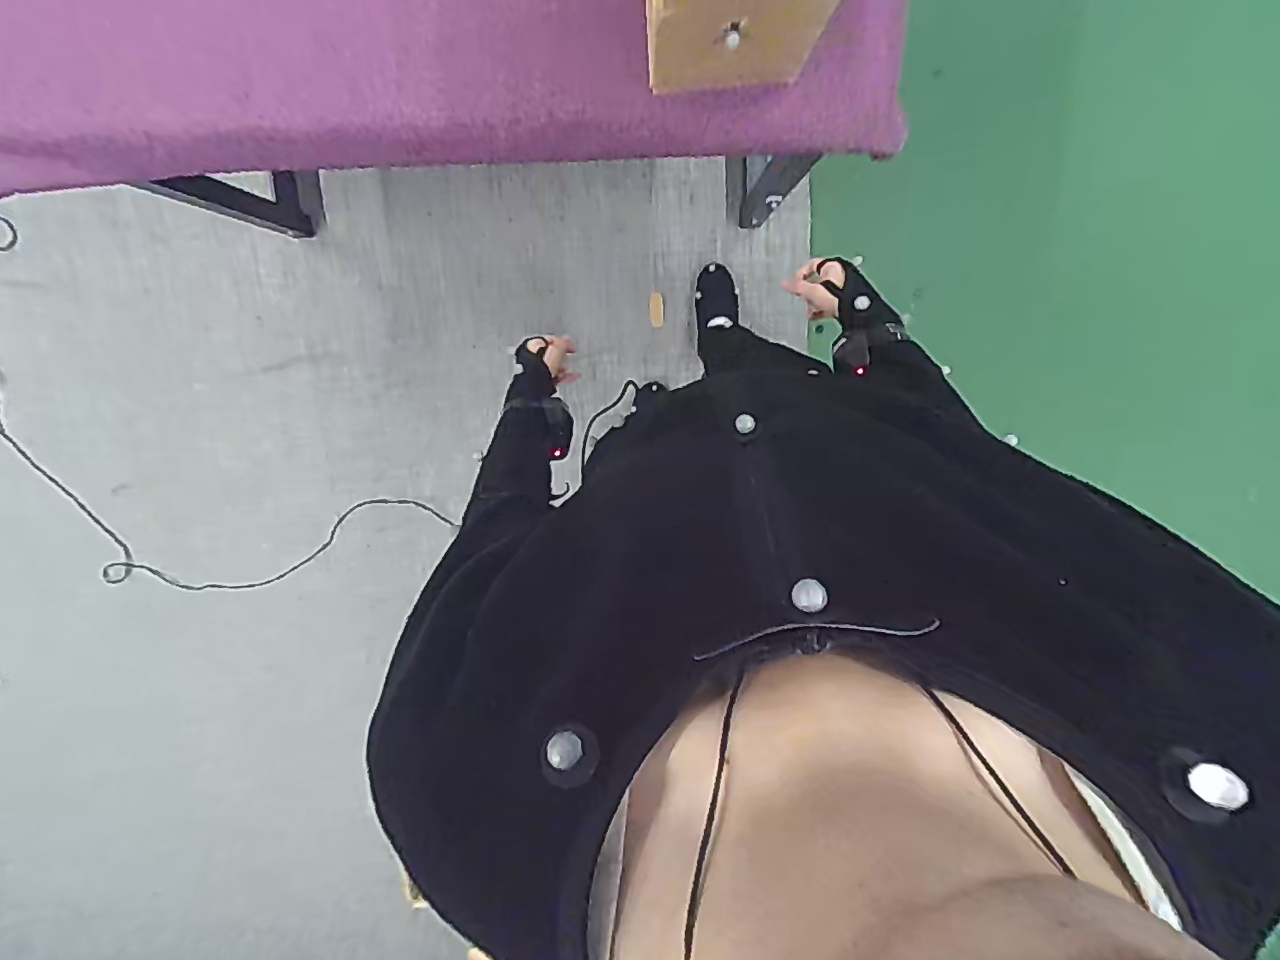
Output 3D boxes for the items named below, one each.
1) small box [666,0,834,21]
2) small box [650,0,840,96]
[{"bbox_3d":[0.093,-0.496,0.402,0.168,0.176,0.179,-2,103,4],"label":"small box"},{"bbox_3d":[0.098,-0.532,0.562,0.179,0.176,0.168,-3,104,4],"label":"small box"}]
